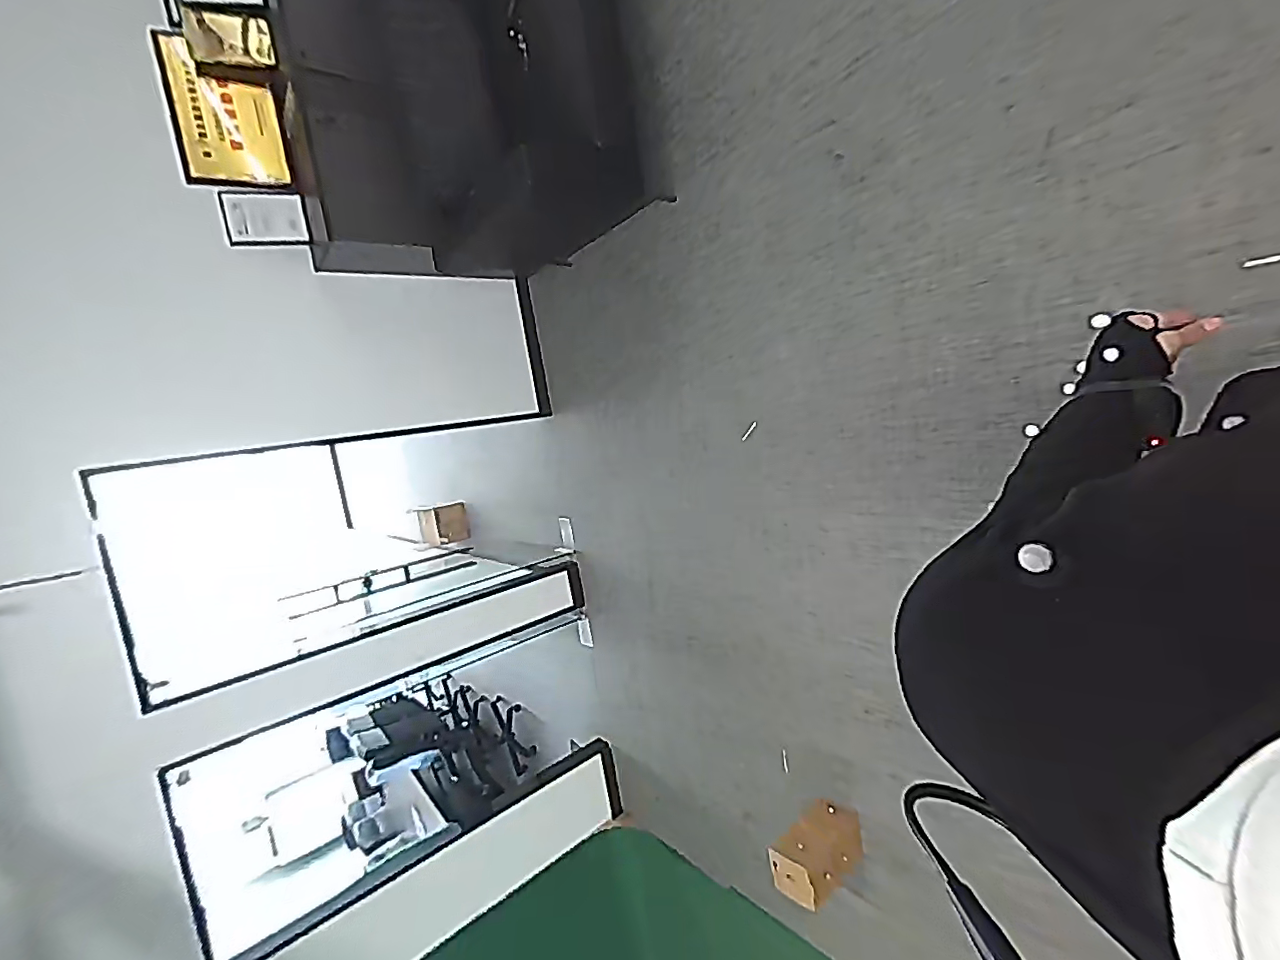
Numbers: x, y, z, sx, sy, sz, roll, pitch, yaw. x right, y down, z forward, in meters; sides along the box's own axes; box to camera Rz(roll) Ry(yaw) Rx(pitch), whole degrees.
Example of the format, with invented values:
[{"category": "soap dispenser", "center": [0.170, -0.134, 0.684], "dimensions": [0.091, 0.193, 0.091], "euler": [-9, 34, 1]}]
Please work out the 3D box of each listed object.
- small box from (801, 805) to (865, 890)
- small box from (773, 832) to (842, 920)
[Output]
[{"category": "small box", "center": [0.741, 1.396, 2.065], "dimensions": [0.168, 0.176, 0.179], "euler": [-3, 96, 52]}, {"category": "small box", "center": [0.614, 1.428, 1.966], "dimensions": [0.179, 0.176, 0.168], "euler": [-8, 93, 52]}]
